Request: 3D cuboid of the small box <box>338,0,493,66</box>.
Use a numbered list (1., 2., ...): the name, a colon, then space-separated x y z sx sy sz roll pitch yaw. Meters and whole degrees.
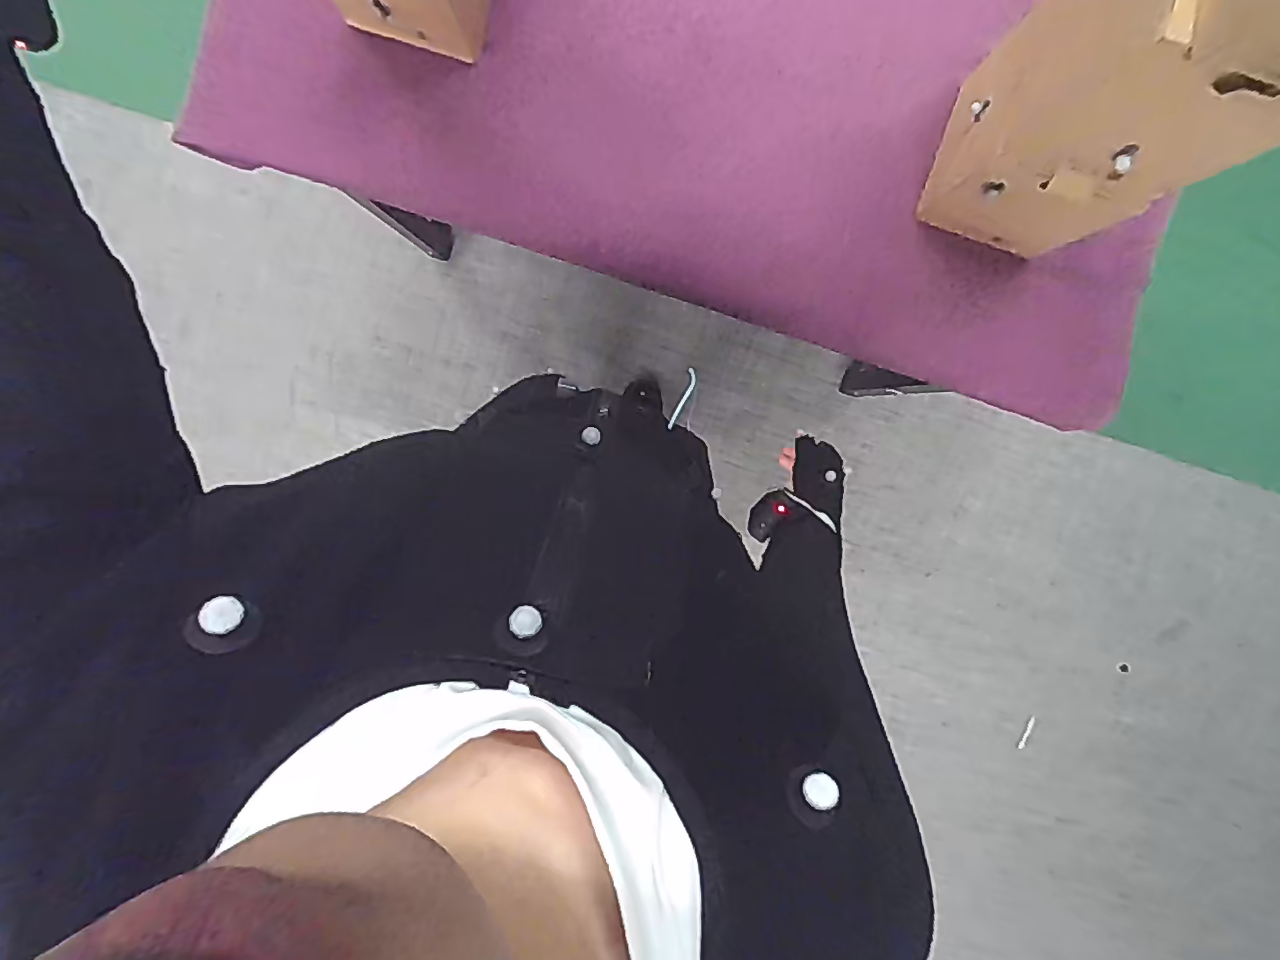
1. small box: -0.255 -0.607 0.582 0.168 0.176 0.179 15 98 -4
